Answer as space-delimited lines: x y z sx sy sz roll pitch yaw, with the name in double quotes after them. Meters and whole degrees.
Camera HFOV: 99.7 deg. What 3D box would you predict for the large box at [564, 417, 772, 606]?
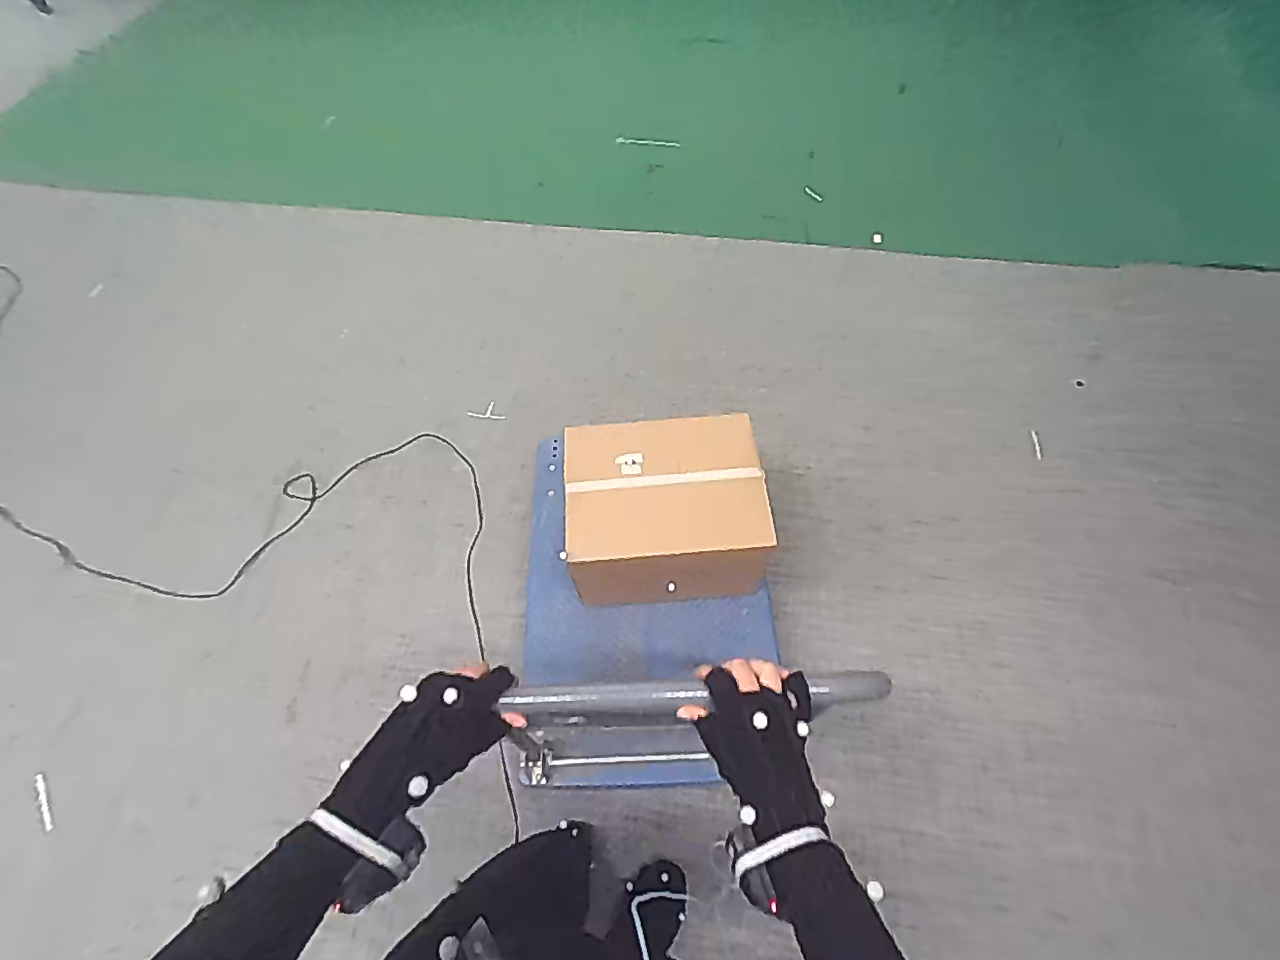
0.052 0.084 1.233 0.408 0.320 0.320 -5 60 0 "large box"
